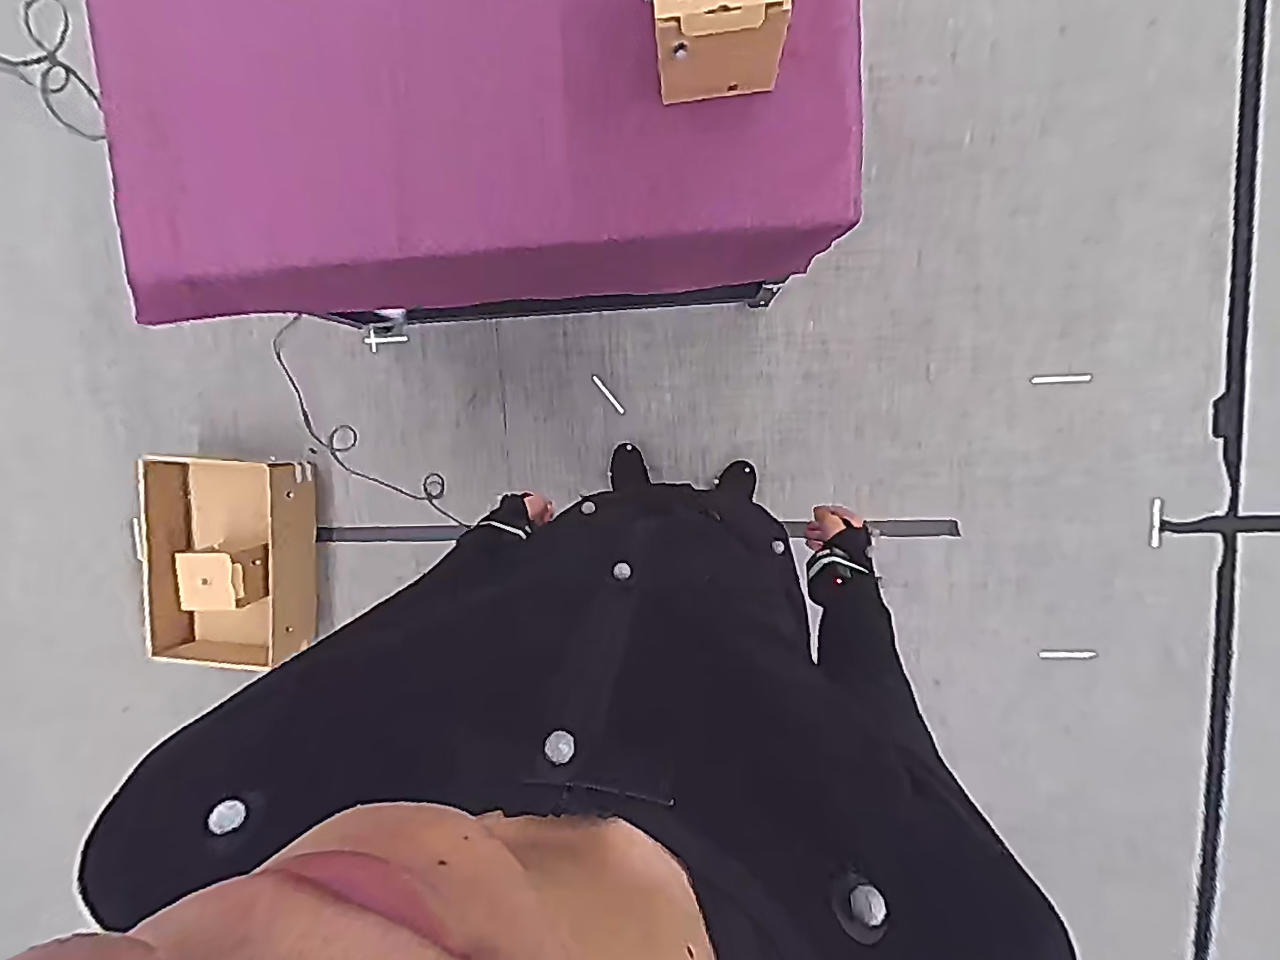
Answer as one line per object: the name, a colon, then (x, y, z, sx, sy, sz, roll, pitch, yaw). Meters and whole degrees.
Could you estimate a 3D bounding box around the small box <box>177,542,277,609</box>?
small box: (-1.226, 0.282, 1.621, 0.179, 0.176, 0.168, -1, 95, 5)
